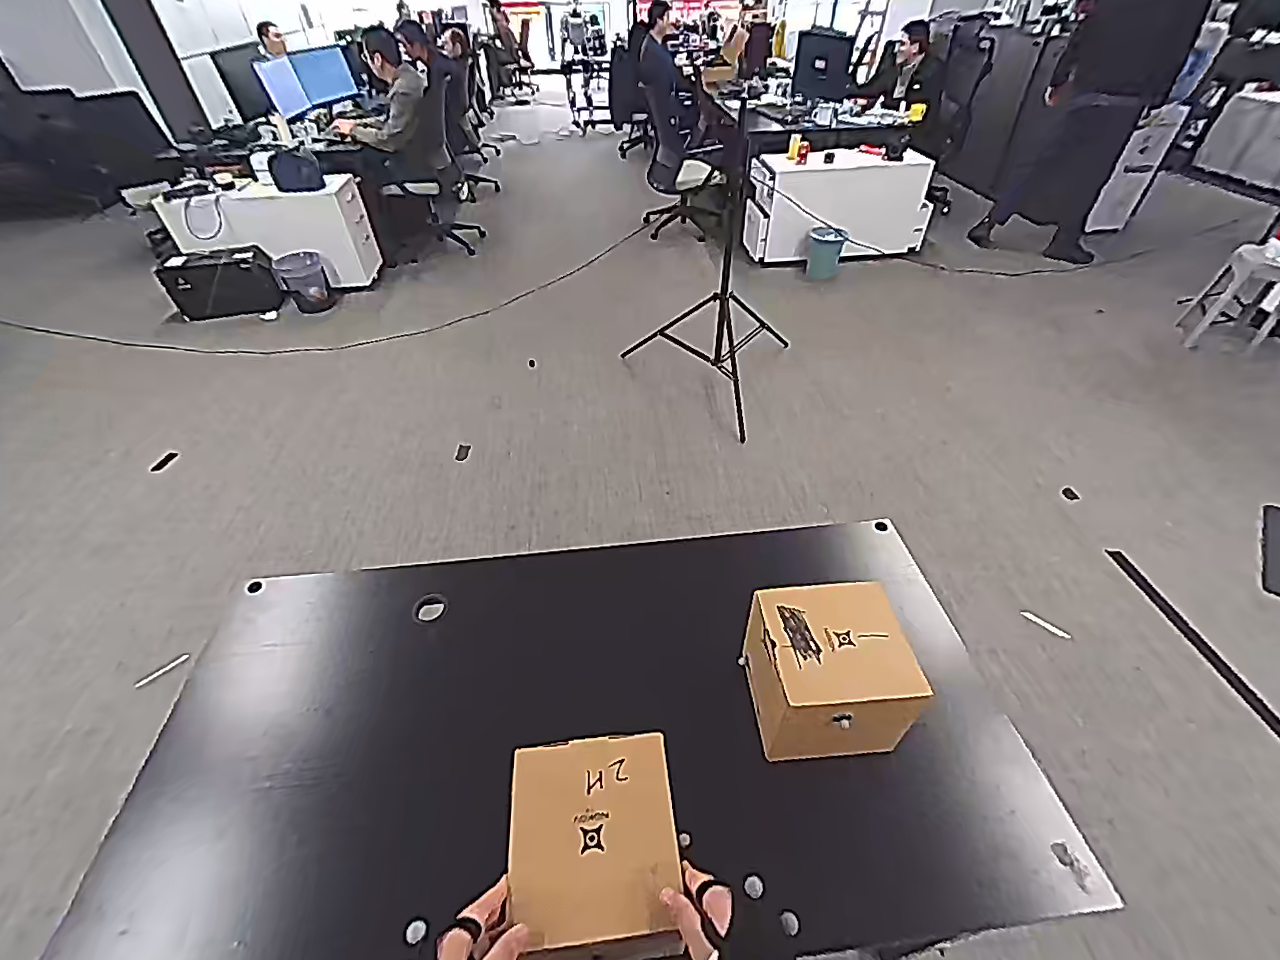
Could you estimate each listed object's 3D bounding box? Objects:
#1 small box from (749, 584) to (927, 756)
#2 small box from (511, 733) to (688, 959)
[{"bbox_3d":[0.254,0.265,0.749,0.179,0.176,0.168,-4,43,-2],"label":"small box"},{"bbox_3d":[-0.041,0.411,0.602,0.168,0.176,0.179,-5,43,-4],"label":"small box"}]
